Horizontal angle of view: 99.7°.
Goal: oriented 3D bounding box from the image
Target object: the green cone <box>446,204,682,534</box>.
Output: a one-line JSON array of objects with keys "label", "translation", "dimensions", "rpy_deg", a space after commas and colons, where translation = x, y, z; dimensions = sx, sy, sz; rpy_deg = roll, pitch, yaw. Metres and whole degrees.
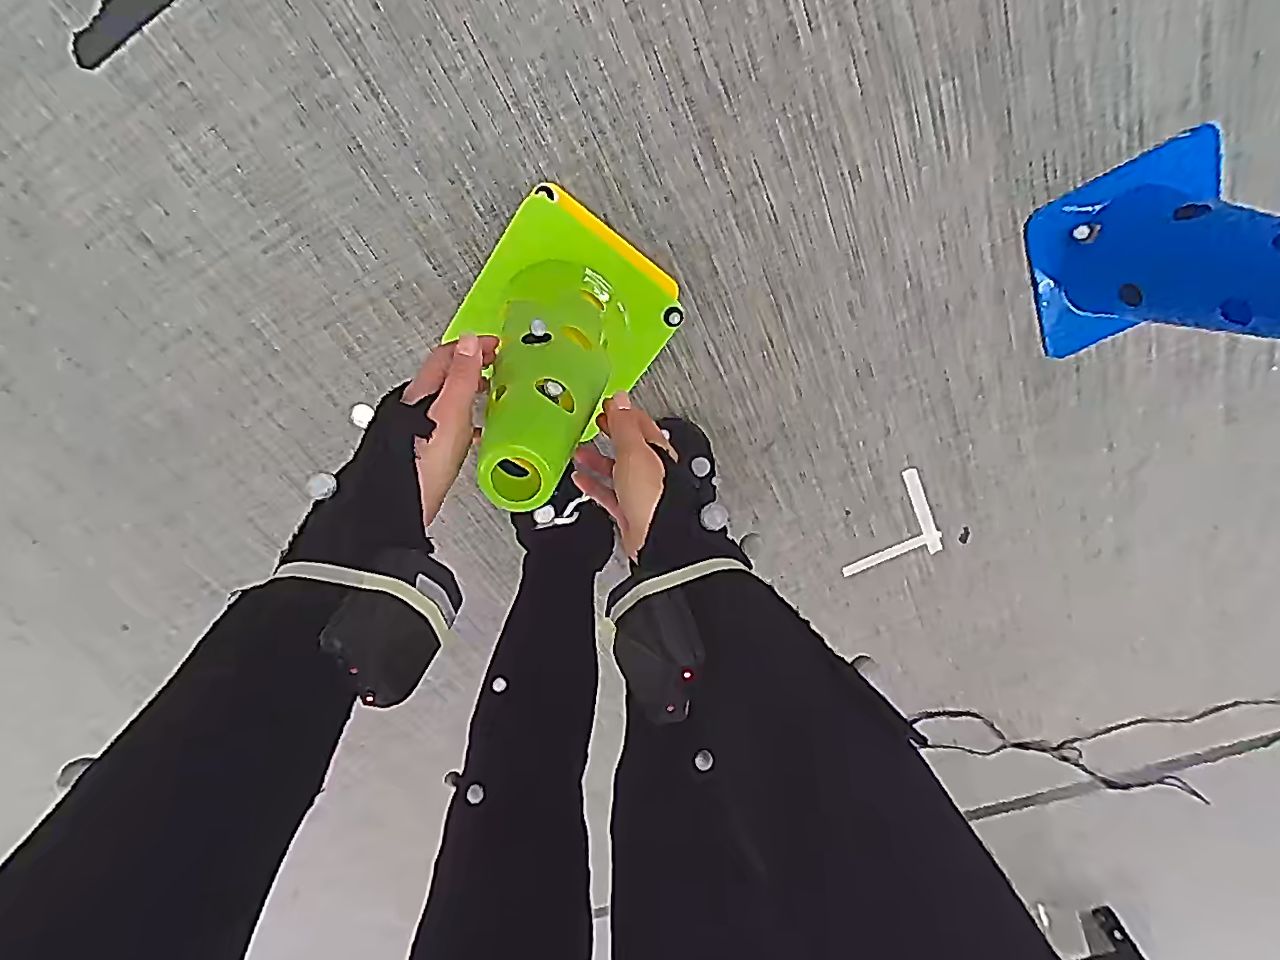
[{"label": "green cone", "translation": [-0.075, -0.075, 0.430], "dimensions": [0.200, 0.368, 0.202], "rpy_deg": [33, 112, -18]}]
